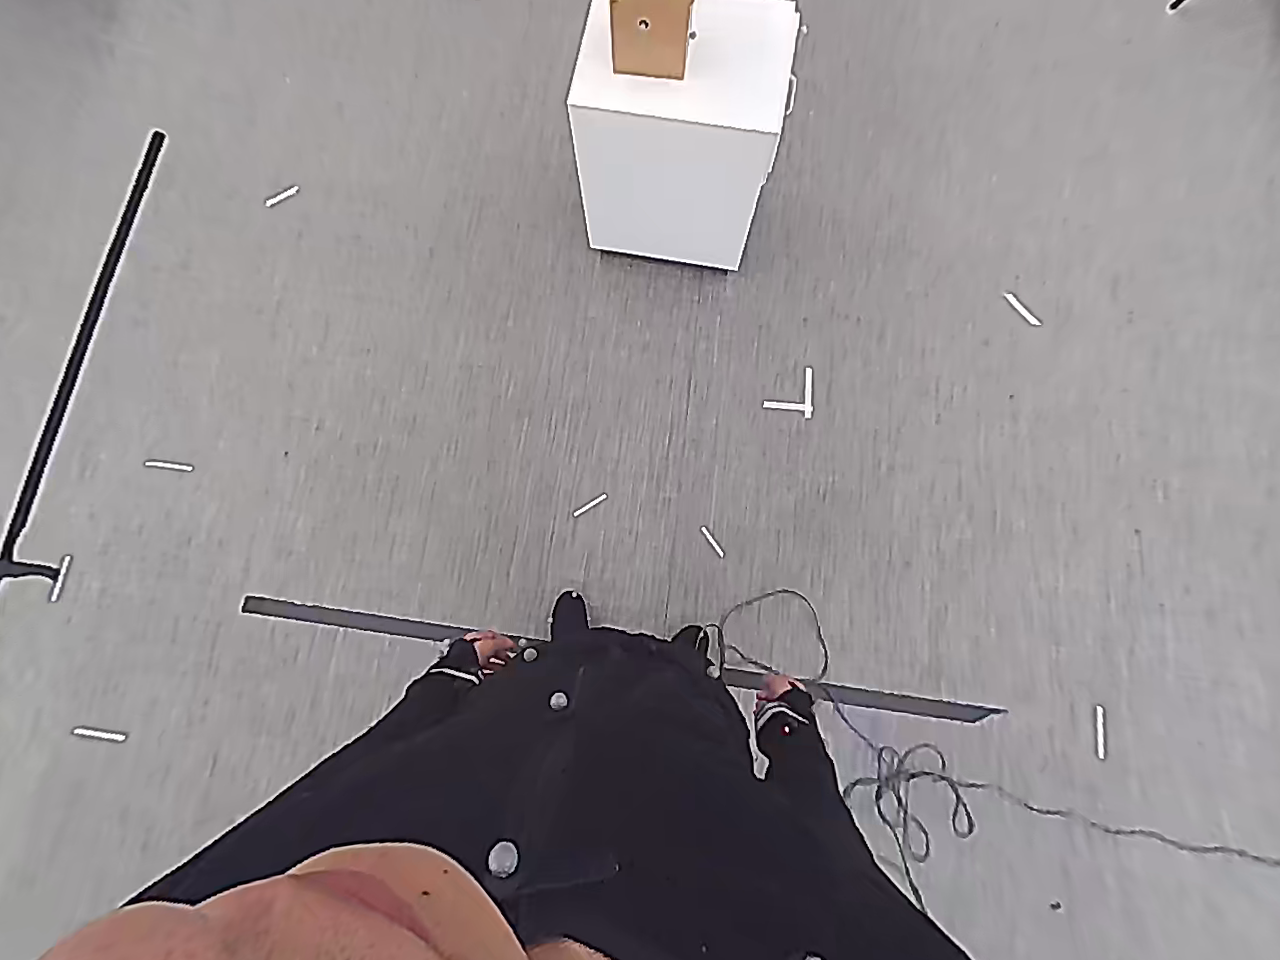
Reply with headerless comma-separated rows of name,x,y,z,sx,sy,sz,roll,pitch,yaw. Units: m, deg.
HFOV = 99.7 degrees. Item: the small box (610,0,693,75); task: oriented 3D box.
small box,0.029,-1.078,1.244,0.179,0.176,0.168,7,79,1
